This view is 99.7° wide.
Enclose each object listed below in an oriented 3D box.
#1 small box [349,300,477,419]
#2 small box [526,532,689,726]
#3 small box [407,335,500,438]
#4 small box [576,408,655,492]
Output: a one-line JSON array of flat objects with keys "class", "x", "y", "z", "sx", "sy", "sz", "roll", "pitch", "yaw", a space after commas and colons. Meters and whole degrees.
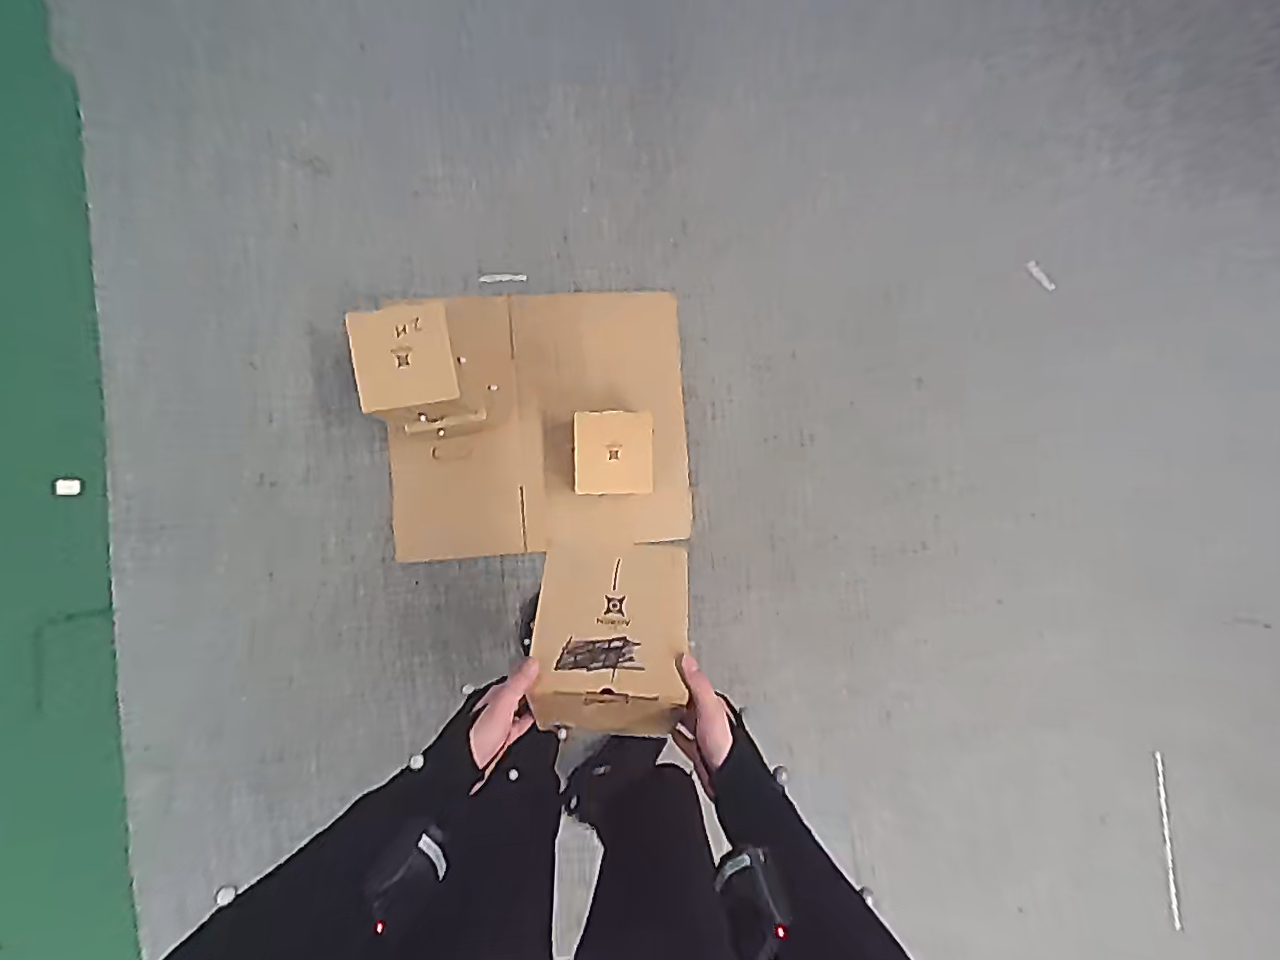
[{"class": "small box", "x": -0.410, "y": -0.213, "z": 1.006, "sx": 0.168, "sy": 0.176, "sz": 0.179, "roll": -10, "pitch": 89, "yaw": -8}, {"class": "small box", "x": -0.031, "y": 0.183, "z": 0.647, "sx": 0.168, "sy": 0.176, "sz": 0.179, "roll": 4, "pitch": 52, "yaw": -1}, {"class": "small box", "x": -0.408, "y": -0.196, "z": 1.172, "sx": 0.168, "sy": 0.176, "sz": 0.179, "roll": -11, "pitch": 90, "yaw": -7}, {"class": "small box", "x": -0.057, "y": -0.061, "z": 1.205, "sx": 0.168, "sy": 0.176, "sz": 0.179, "roll": -1, "pitch": 88, "yaw": -6}]
